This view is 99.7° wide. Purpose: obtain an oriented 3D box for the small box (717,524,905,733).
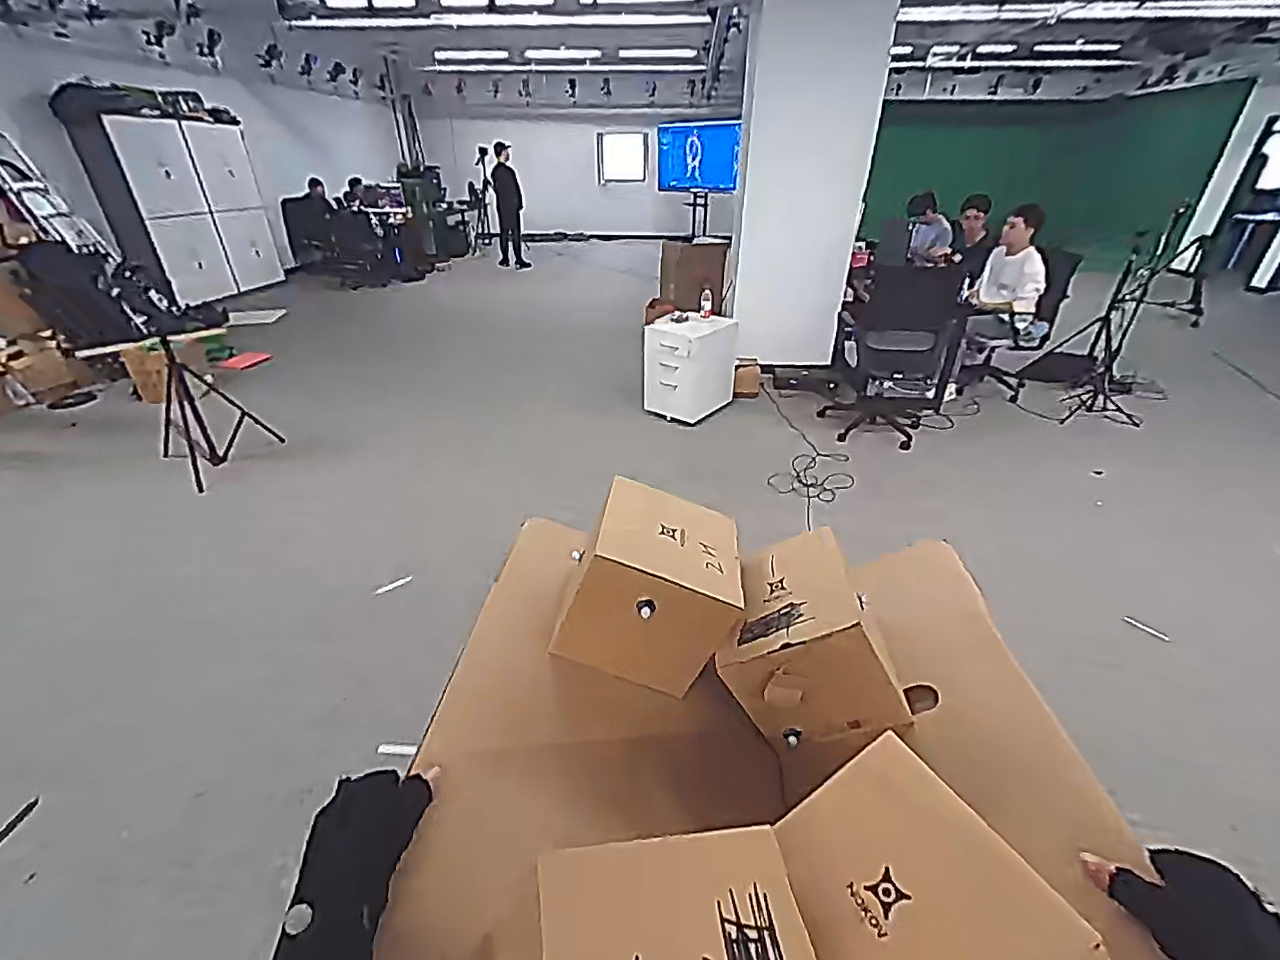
[{"bbox_3d":[0.209,0.192,0.684,0.168,0.176,0.179,-25,24,21],"label":"small box"}]
